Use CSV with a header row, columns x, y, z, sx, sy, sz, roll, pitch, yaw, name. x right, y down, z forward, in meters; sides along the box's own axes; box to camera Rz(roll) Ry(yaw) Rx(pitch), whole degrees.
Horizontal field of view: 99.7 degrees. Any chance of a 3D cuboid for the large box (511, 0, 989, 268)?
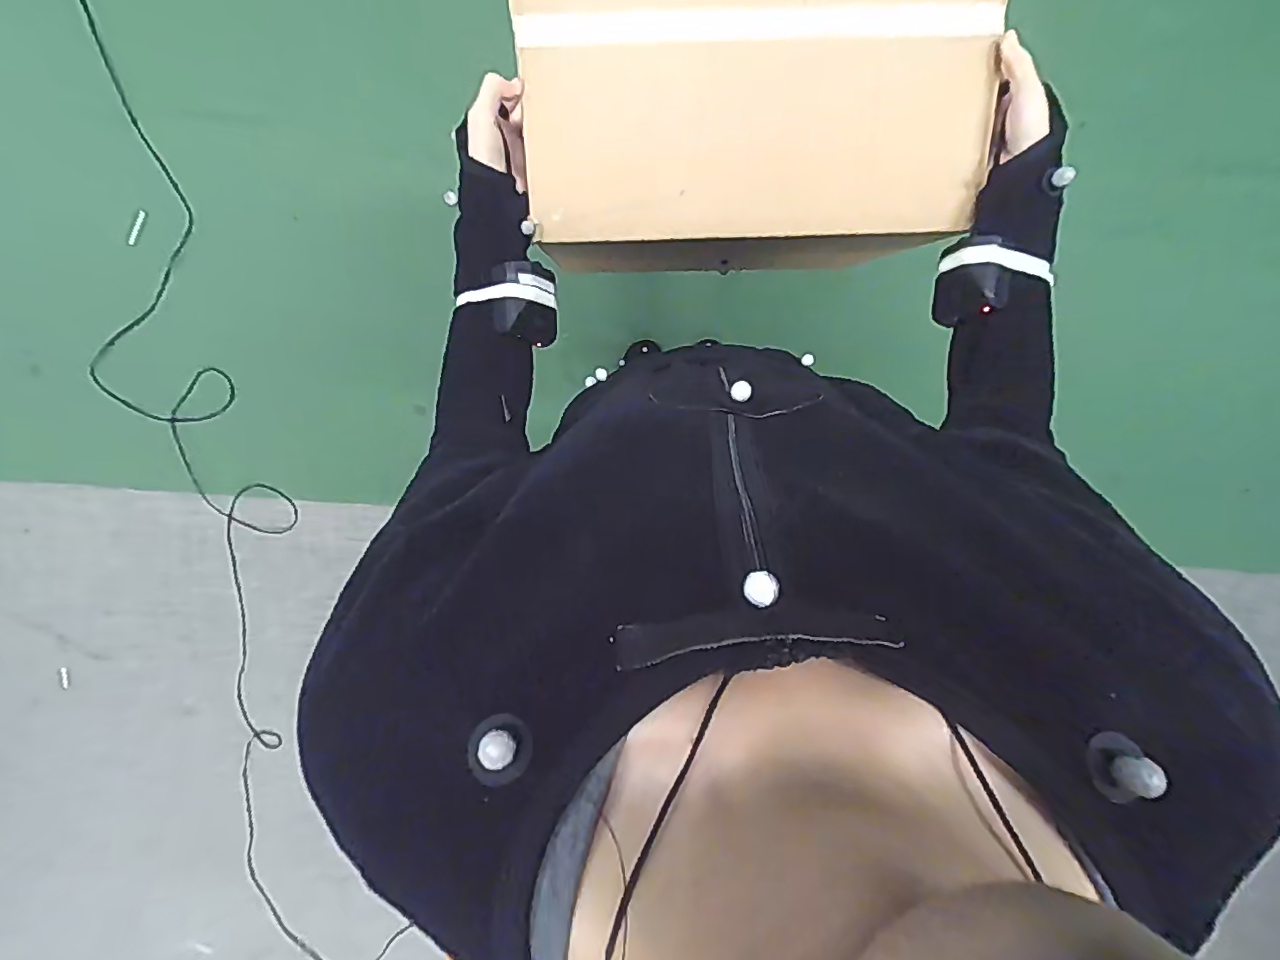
x,y,z,sx,sy,sz,roll,pitch,yaw,name
0.093,-0.418,0.598,0.408,0.320,0.320,-2,106,0,large box
